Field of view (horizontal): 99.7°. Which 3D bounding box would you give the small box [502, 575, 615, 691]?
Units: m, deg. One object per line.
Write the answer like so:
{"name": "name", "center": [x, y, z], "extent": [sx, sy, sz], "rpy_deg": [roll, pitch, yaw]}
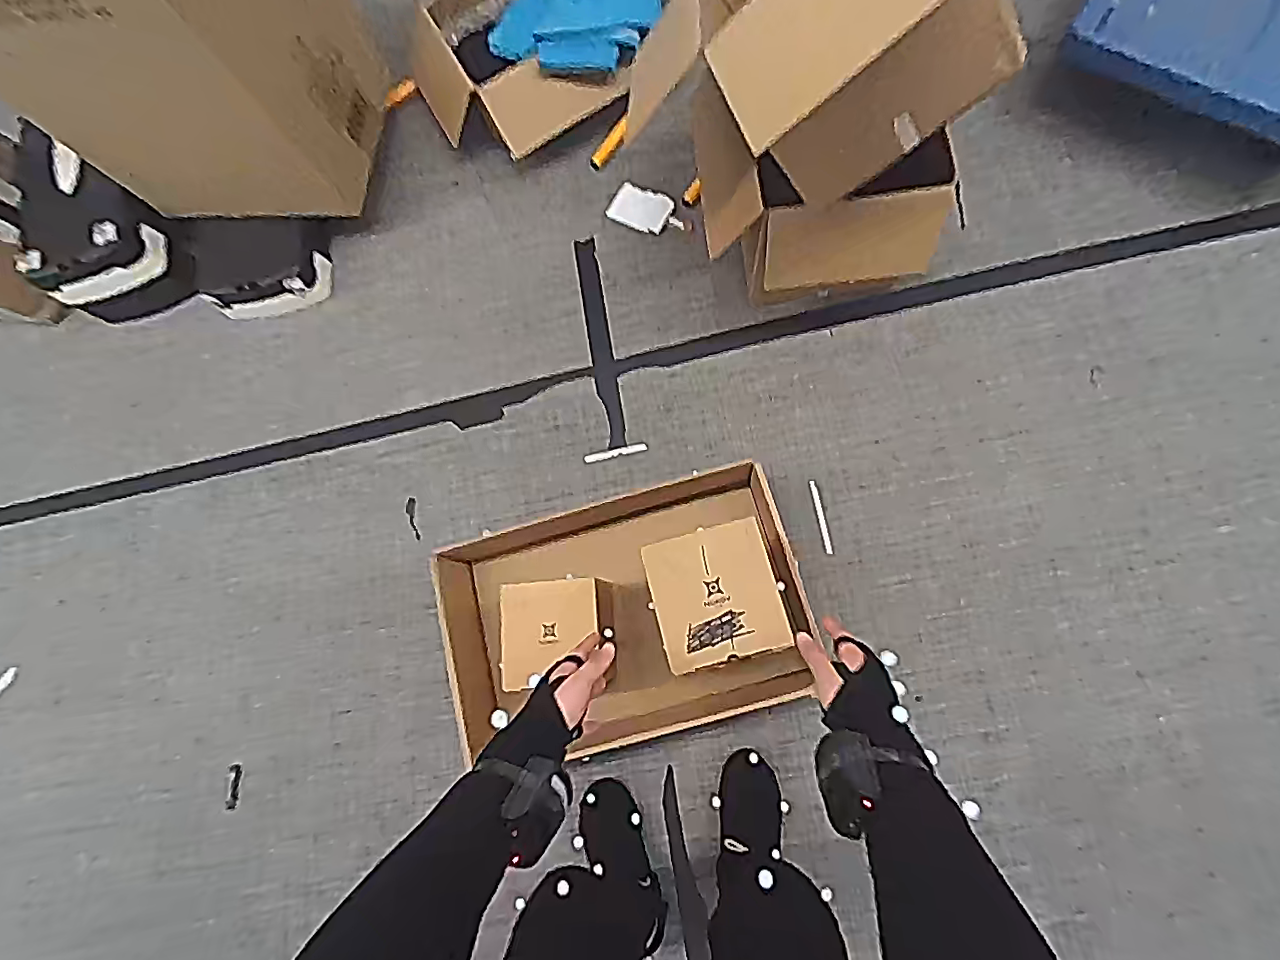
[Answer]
{"name": "small box", "center": [-0.141, 0.270, 0.967], "extent": [0.168, 0.176, 0.179], "rpy_deg": [-6, 77, 5]}

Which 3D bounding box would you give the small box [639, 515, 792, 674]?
{"name": "small box", "center": [0.108, 0.164, 0.786], "extent": [0.168, 0.176, 0.179], "rpy_deg": [-16, 75, 4]}
